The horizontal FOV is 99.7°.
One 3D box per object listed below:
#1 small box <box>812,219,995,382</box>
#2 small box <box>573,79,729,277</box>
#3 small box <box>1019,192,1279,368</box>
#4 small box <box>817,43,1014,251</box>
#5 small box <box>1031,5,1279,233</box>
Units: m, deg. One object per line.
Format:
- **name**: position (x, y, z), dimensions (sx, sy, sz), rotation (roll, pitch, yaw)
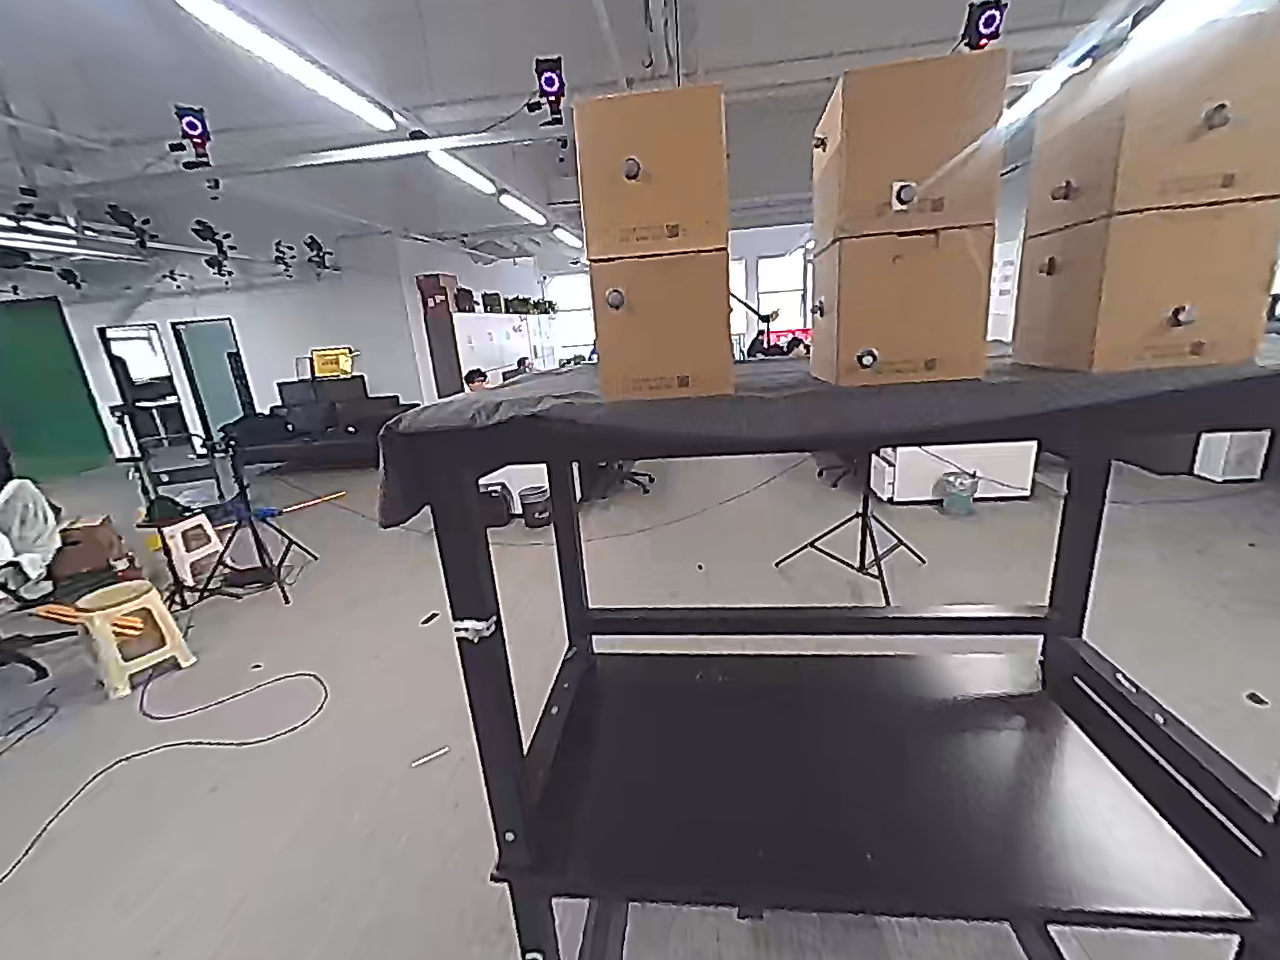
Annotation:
- **small box**: position (0.320, -0.216, 0.689), dimensions (0.168, 0.176, 0.179), rotation (-2, 14, 8)
- **small box**: position (0.023, -0.359, 0.679), dimensions (0.168, 0.176, 0.179), rotation (-2, 14, 7)
- **small box**: position (0.592, -0.228, 0.653), dimensions (0.168, 0.176, 0.179), rotation (-3, 15, 9)
- **small box**: position (0.310, -0.374, 0.649), dimensions (0.168, 0.176, 0.179), rotation (-3, 15, 9)
- **small box**: position (0.581, -0.386, 0.611), dimensions (0.168, 0.176, 0.179), rotation (-2, 16, 9)
